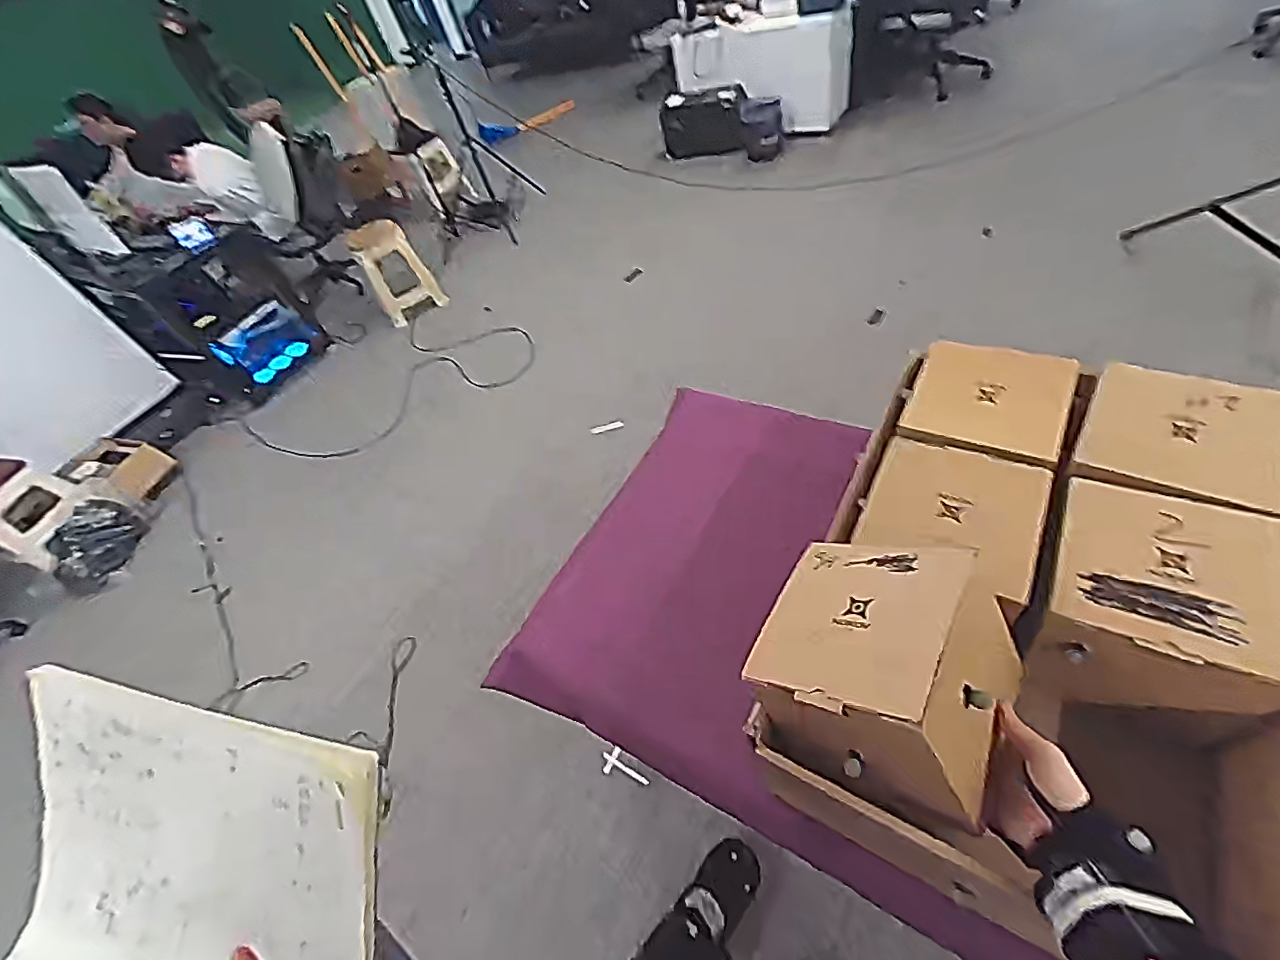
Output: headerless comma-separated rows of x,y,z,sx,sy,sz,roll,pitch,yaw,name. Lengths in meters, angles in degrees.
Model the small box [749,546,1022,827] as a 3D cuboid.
0.241,0.186,0.518,0.168,0.176,0.179,-3,42,49,small box
